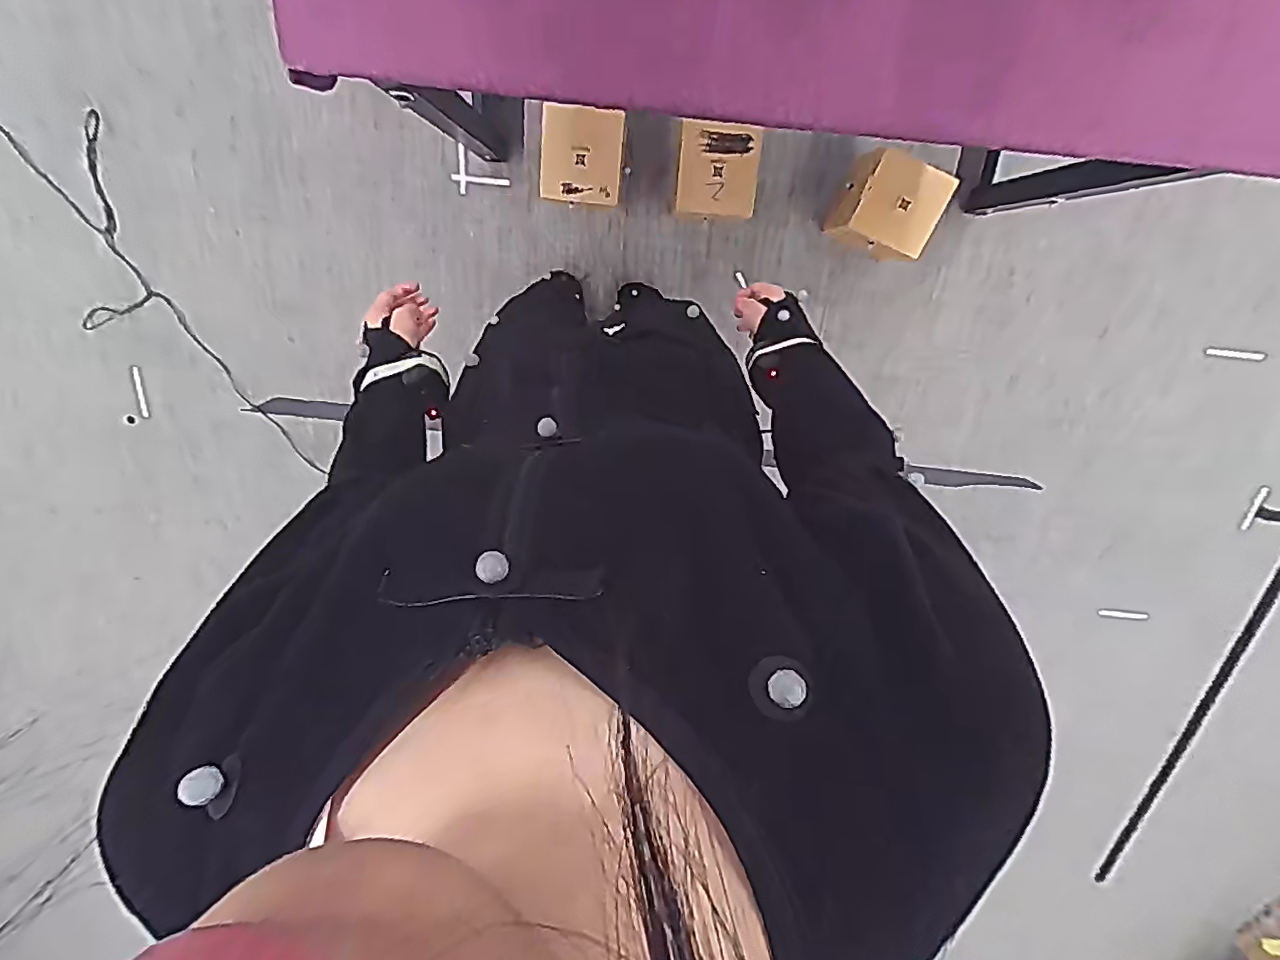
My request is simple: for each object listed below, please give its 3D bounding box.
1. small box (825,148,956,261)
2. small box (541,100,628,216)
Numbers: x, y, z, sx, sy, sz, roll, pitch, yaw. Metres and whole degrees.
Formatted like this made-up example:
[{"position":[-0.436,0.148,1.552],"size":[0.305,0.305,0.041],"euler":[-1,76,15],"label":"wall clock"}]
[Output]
[{"position":[0.550,-0.608,1.211],"size":[0.179,0.176,0.168],"euler":[21,110,-7],"label":"small box"},{"position":[-0.118,-0.691,1.179],"size":[0.168,0.176,0.179],"euler":[6,110,-3],"label":"small box"}]
